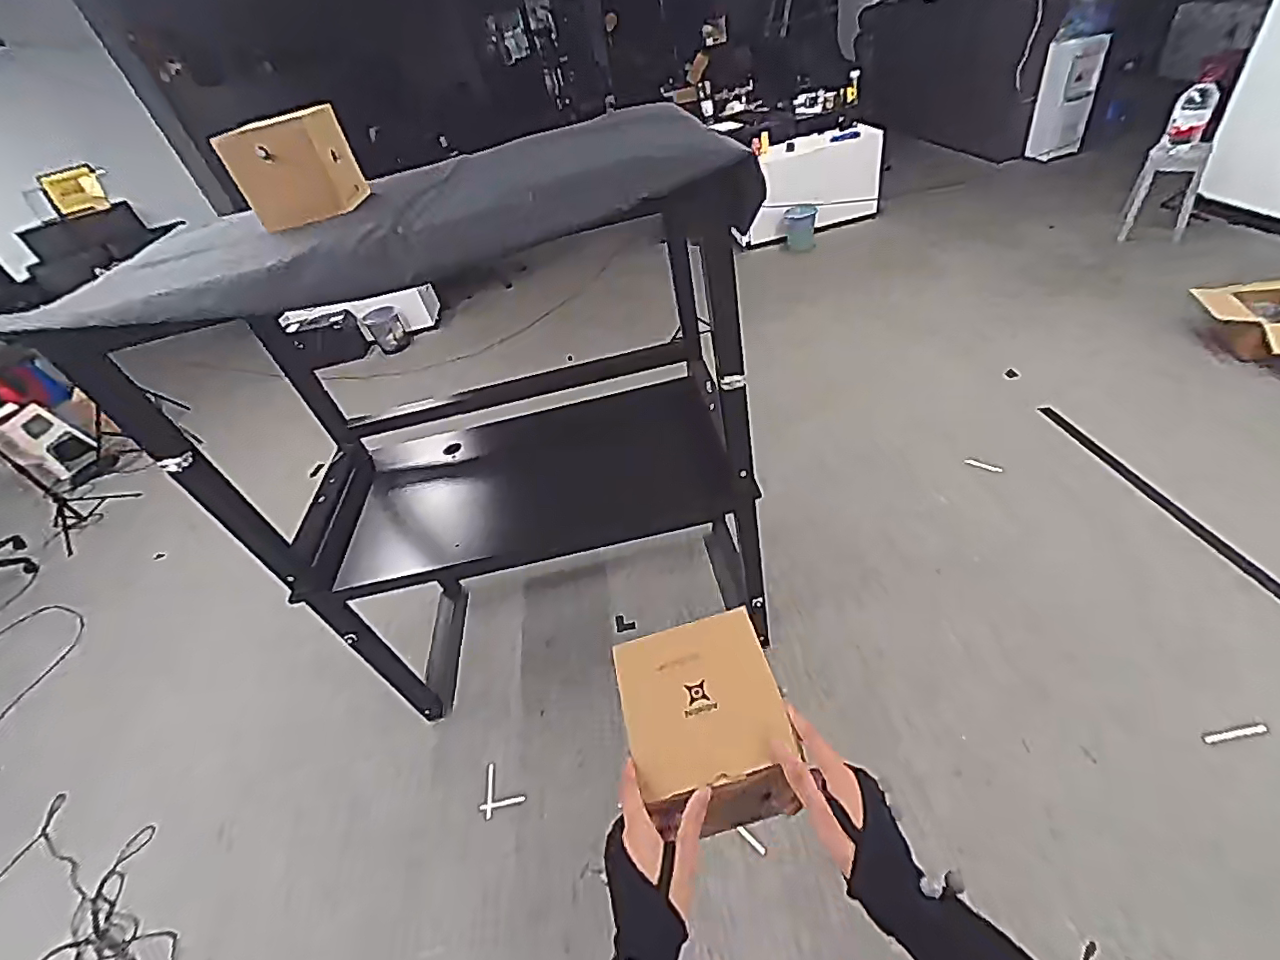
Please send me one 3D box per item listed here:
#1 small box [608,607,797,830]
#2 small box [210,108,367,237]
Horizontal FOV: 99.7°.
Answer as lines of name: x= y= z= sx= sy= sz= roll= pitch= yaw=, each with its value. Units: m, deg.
small box: x=0.074 y=0.283 z=0.629 sx=0.168 sy=0.176 sz=0.179 roll=-17 pitch=45 yaw=0
small box: x=-0.679 y=-0.610 z=1.074 sx=0.179 sy=0.176 sz=0.168 roll=-13 pitch=41 yaw=3
